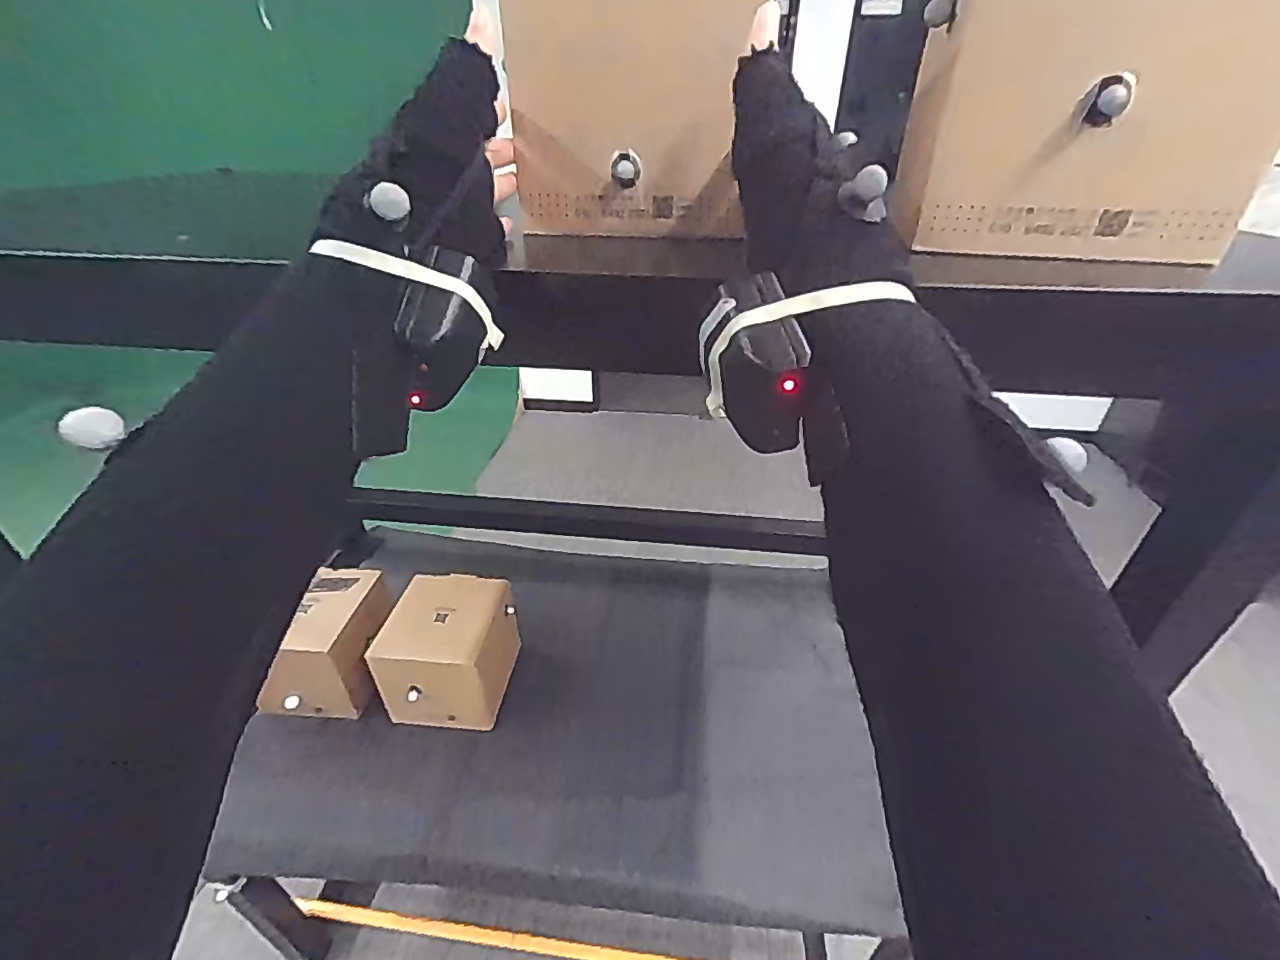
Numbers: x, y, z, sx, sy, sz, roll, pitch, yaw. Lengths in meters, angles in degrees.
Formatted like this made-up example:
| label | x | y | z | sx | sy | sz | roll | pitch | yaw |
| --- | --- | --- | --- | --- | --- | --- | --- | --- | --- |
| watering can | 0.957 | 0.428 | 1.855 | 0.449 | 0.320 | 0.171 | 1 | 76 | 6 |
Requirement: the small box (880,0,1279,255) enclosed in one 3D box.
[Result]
| label | x | y | z | sx | sy | sz | roll | pitch | yaw |
| --- | --- | --- | --- | --- | --- | --- | --- | --- | --- |
| small box | 0.264 | -0.250 | 0.351 | 0.168 | 0.176 | 0.179 | 9 | 34 | 14 |

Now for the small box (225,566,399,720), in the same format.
| label | x | y | z | sx | sy | sz | roll | pitch | yaw |
| --- | --- | --- | --- | --- | --- | --- | --- | --- | --- |
| small box | -0.525 | 0.267 | 0.901 | 0.168 | 0.176 | 0.179 | 2 | 33 | 3 |
